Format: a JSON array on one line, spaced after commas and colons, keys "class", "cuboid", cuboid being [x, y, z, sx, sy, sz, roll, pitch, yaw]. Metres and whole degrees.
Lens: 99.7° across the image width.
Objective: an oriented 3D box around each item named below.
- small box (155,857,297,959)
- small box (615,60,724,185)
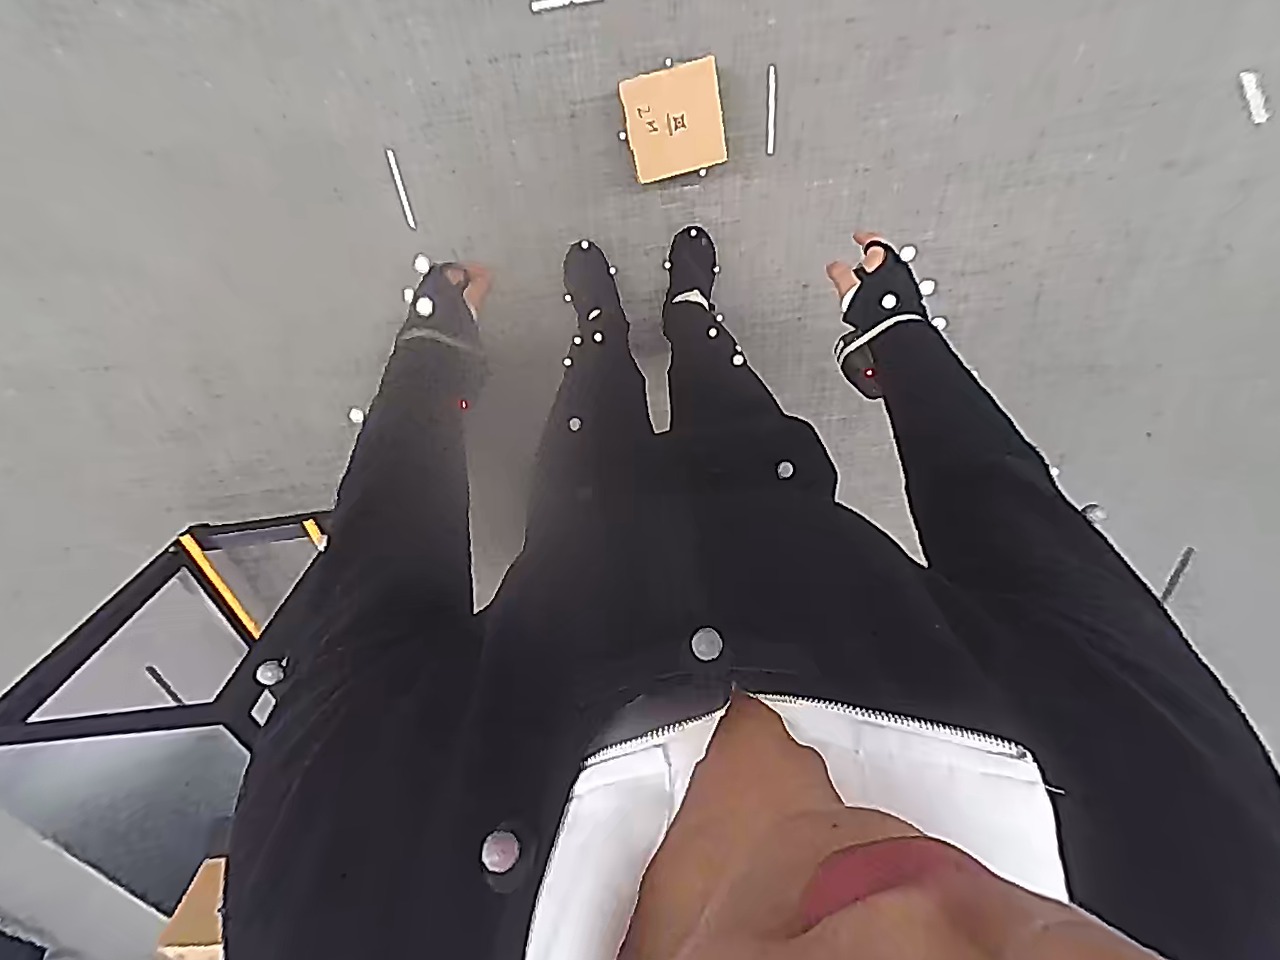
[{"class": "small box", "cuboid": [-0.924, 0.990, 1.234, 0.179, 0.176, 0.168, -5, 123, 1]}, {"class": "small box", "cuboid": [0.054, -0.694, 1.054, 0.179, 0.176, 0.168, -12, 123, 5]}]
